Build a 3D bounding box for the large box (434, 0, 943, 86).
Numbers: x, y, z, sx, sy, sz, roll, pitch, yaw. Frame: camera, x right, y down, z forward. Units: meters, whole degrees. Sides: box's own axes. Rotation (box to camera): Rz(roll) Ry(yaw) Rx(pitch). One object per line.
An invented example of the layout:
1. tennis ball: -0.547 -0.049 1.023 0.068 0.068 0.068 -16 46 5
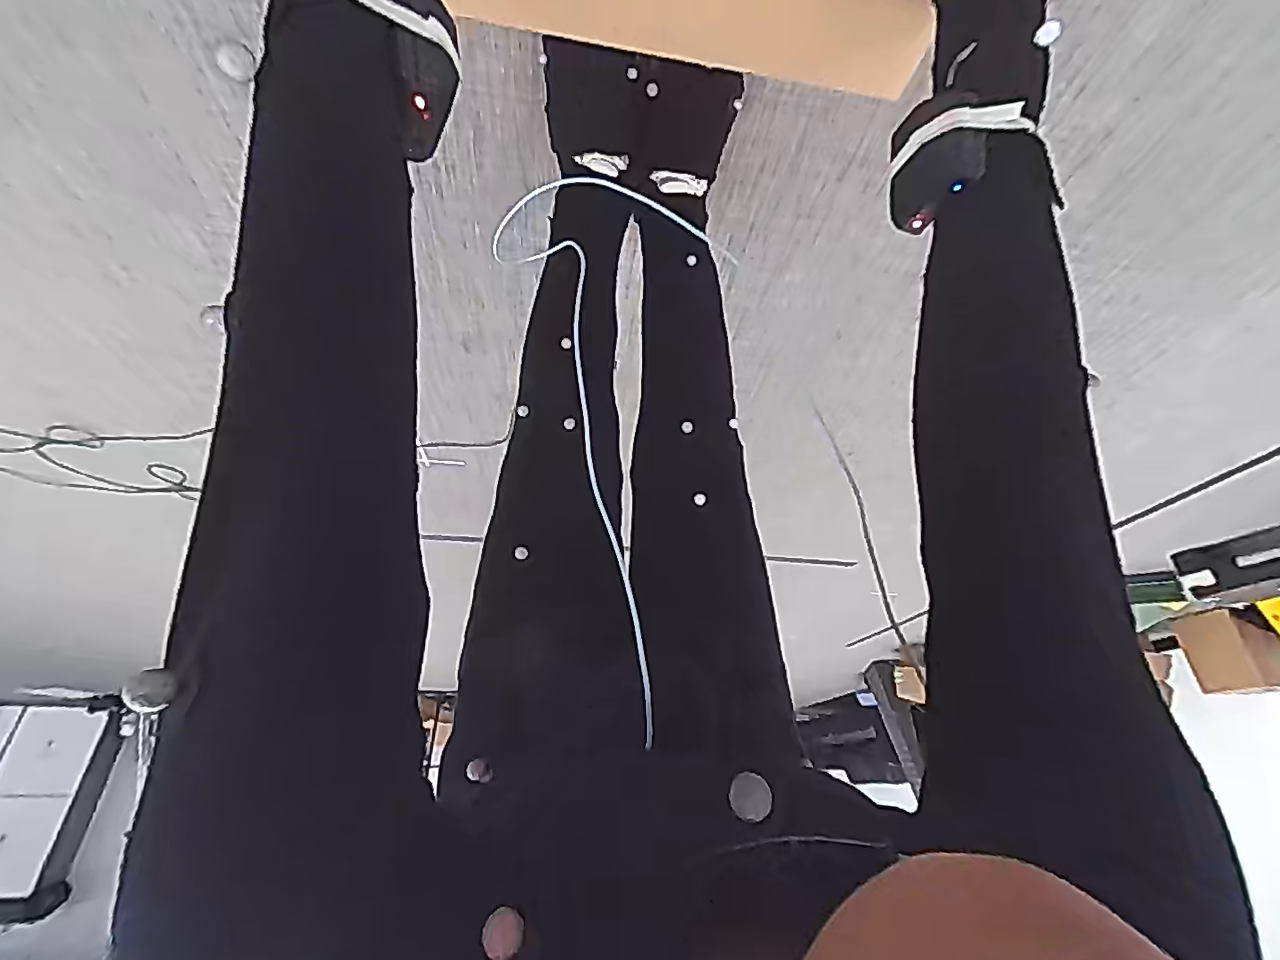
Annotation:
1. large box: 0.053 -0.561 0.392 0.408 0.320 0.320 4 151 -8
